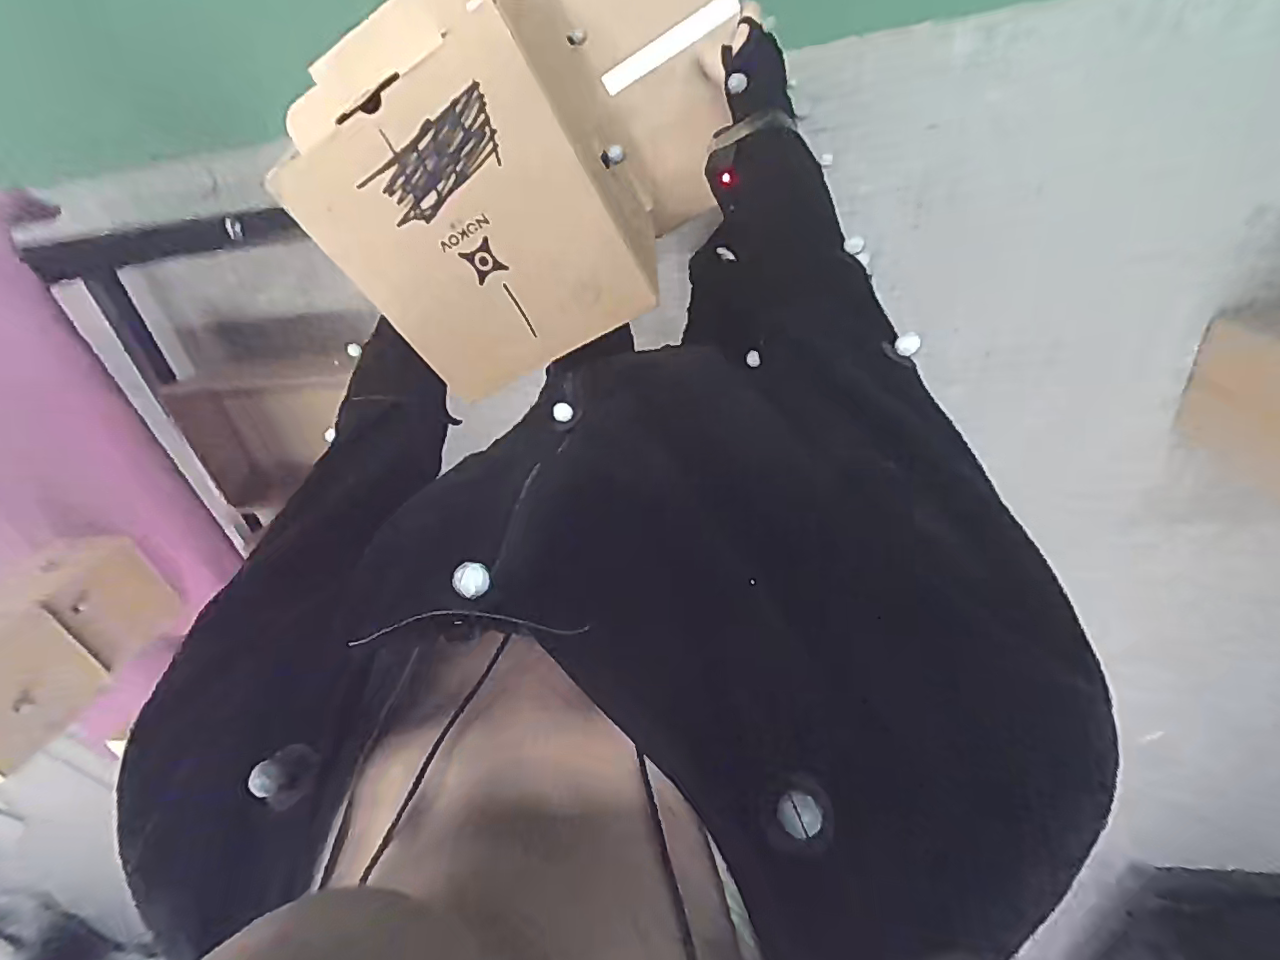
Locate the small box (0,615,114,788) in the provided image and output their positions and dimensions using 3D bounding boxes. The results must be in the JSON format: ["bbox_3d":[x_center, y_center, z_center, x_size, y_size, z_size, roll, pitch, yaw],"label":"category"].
[{"bbox_3d":[-0.957,0.321,0.795,0.168,0.176,0.179,-5,121,10],"label":"small box"}]

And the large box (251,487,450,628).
[{"bbox_3d":[-0.889,0.239,1.715,0.408,0.320,0.320,-5,121,8],"label":"large box"}]

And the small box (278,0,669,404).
[{"bbox_3d":[-0.092,-0.192,0.383,0.168,0.176,0.179,-21,129,18],"label":"small box"}]

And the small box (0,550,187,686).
[{"bbox_3d":[-0.958,0.232,0.935,0.168,0.176,0.179,-4,122,11],"label":"small box"}]
